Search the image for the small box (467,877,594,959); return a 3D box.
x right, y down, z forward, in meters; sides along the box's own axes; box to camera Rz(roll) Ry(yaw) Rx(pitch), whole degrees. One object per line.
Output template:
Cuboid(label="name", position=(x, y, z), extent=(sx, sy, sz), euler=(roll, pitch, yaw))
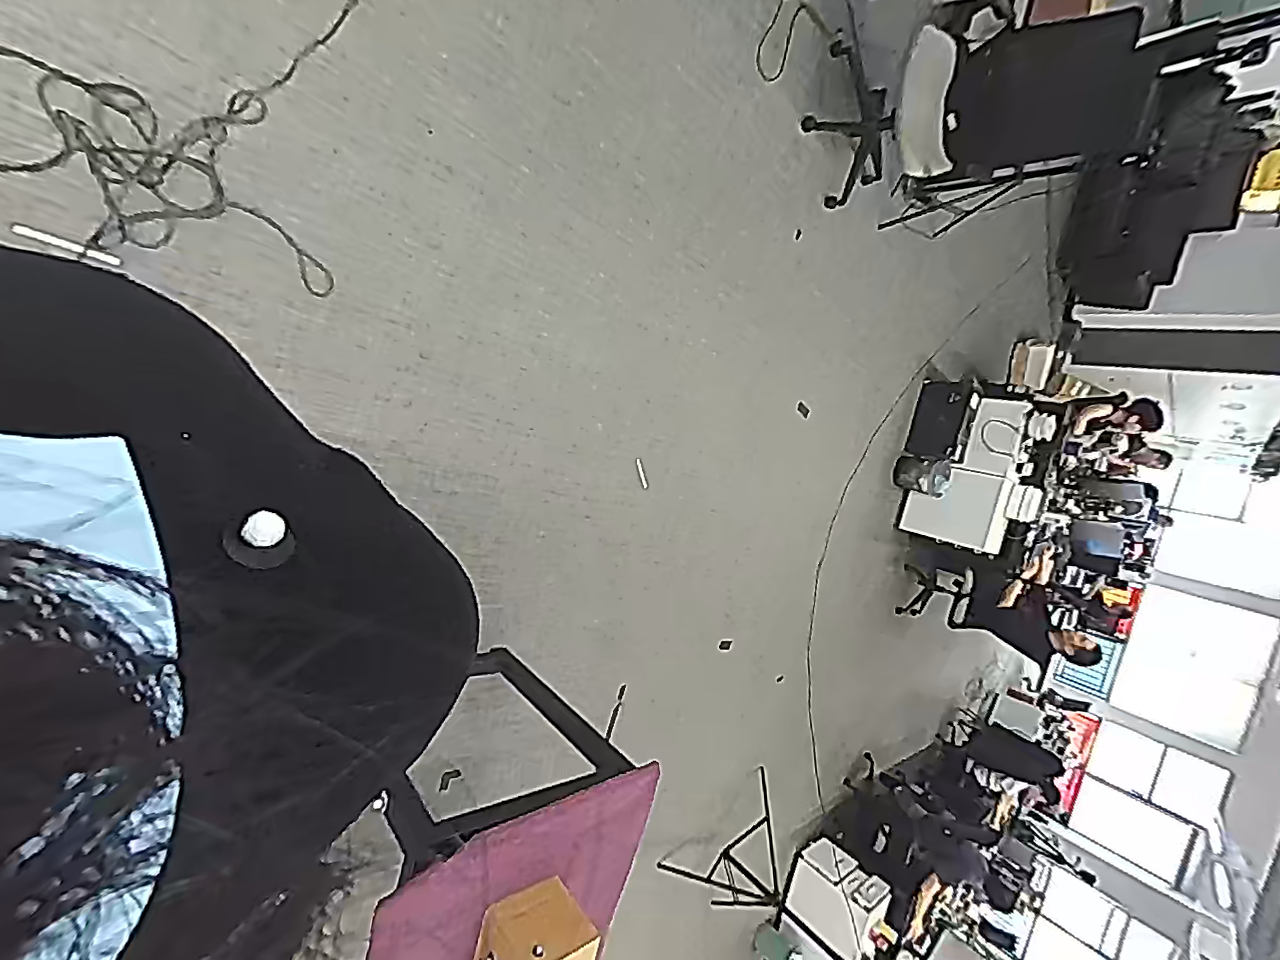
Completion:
Cuboid(label="small box", position=(-0.226, 0.964, 1.100), extent=(0.179, 0.176, 0.168), euler=(10, 97, -44))
